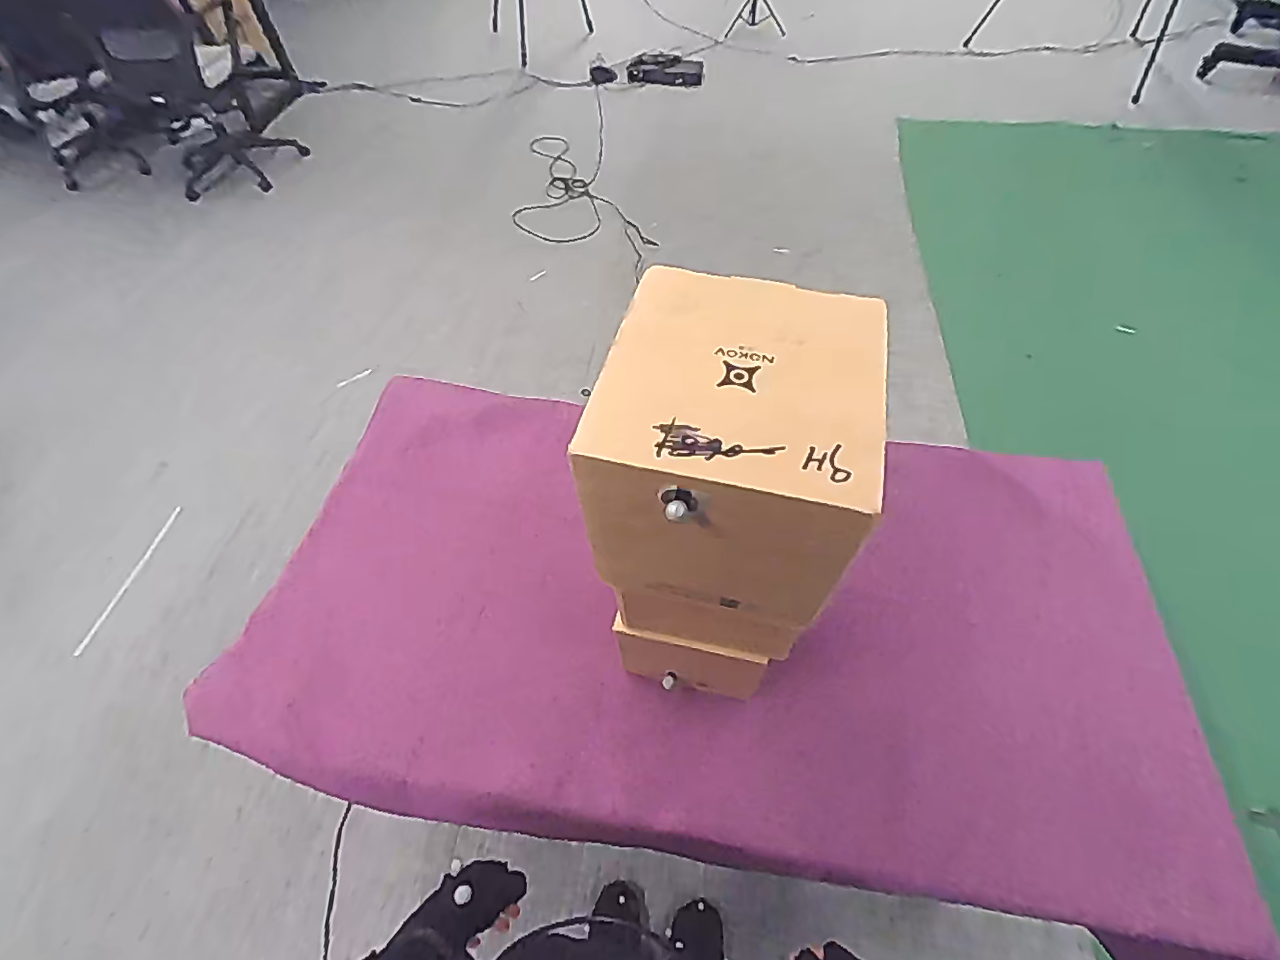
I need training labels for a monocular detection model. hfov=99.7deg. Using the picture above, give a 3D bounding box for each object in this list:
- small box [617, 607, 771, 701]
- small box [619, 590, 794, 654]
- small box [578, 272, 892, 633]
[{"bbox_3d":[0.076,0.149,0.669,0.168,0.176,0.179,10,57,10],"label":"small box"},{"bbox_3d":[0.077,0.057,0.536,0.179,0.176,0.168,9,56,9],"label":"small box"},{"bbox_3d":[0.067,-0.017,0.388,0.168,0.176,0.179,11,55,11],"label":"small box"}]
